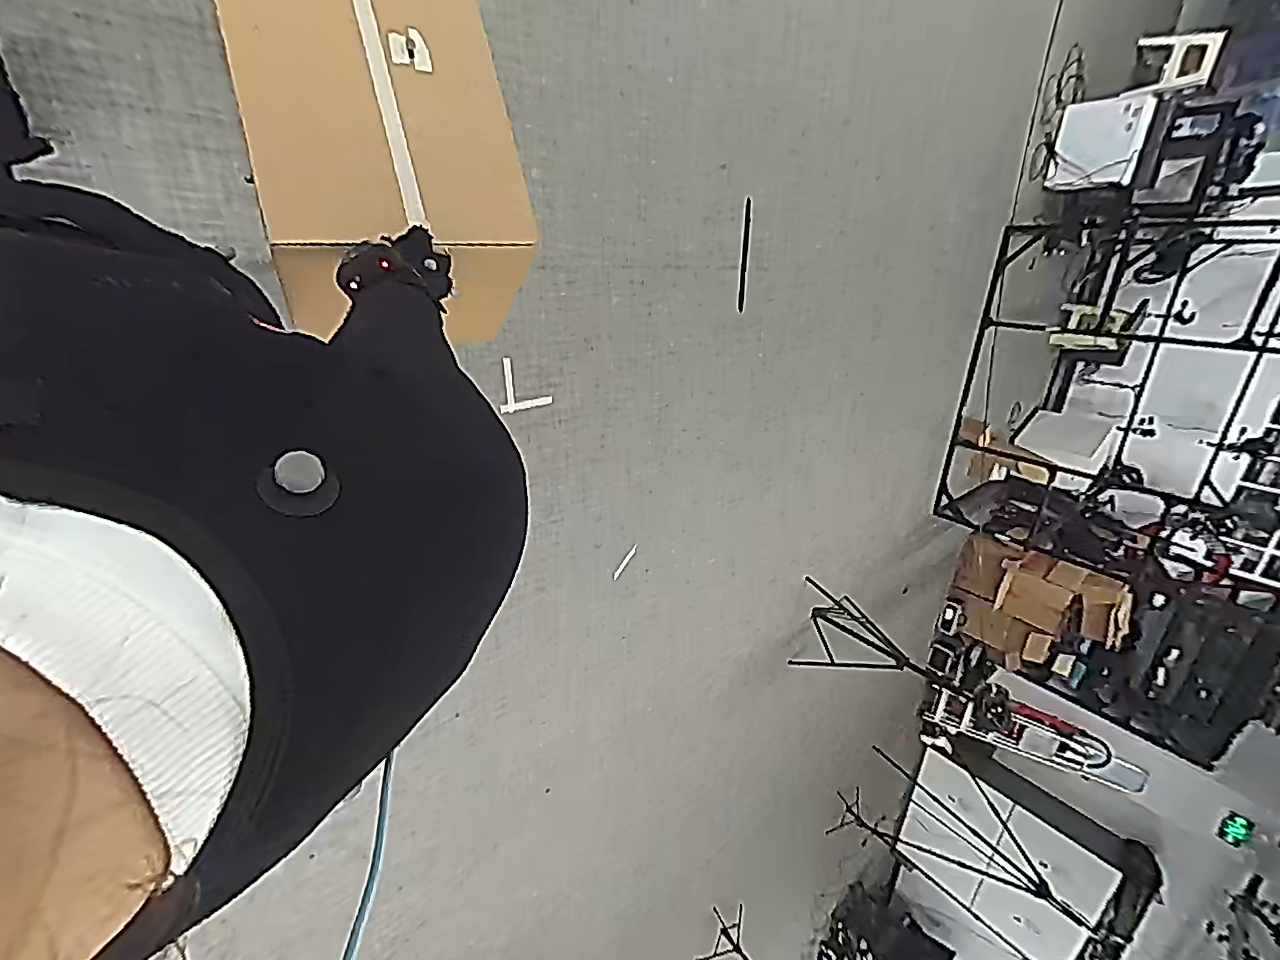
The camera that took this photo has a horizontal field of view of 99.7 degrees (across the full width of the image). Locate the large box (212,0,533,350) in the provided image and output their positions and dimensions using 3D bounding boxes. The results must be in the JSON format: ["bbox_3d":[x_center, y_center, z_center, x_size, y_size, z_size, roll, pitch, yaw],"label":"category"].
[{"bbox_3d":[-0.396,-0.456,0.820,0.320,0.320,0.408,-14,85,-29],"label":"large box"}]
